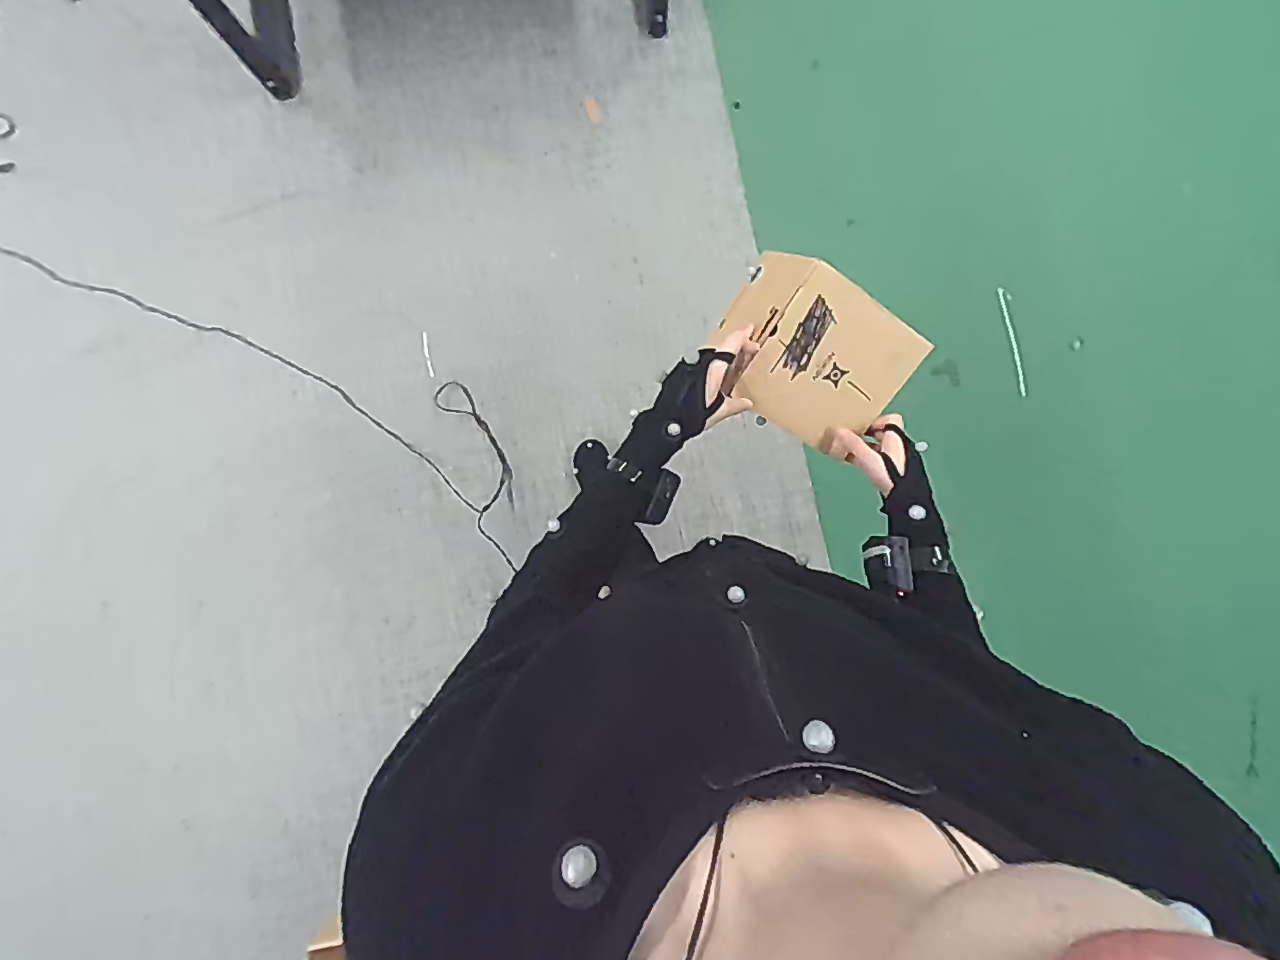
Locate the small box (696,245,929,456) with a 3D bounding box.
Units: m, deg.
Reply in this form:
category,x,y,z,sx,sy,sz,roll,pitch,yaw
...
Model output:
category,x,y,z,sx,sy,sz,roll,pitch,yaw
small box,0.189,-0.161,0.651,0.179,0.176,0.168,27,110,-18
